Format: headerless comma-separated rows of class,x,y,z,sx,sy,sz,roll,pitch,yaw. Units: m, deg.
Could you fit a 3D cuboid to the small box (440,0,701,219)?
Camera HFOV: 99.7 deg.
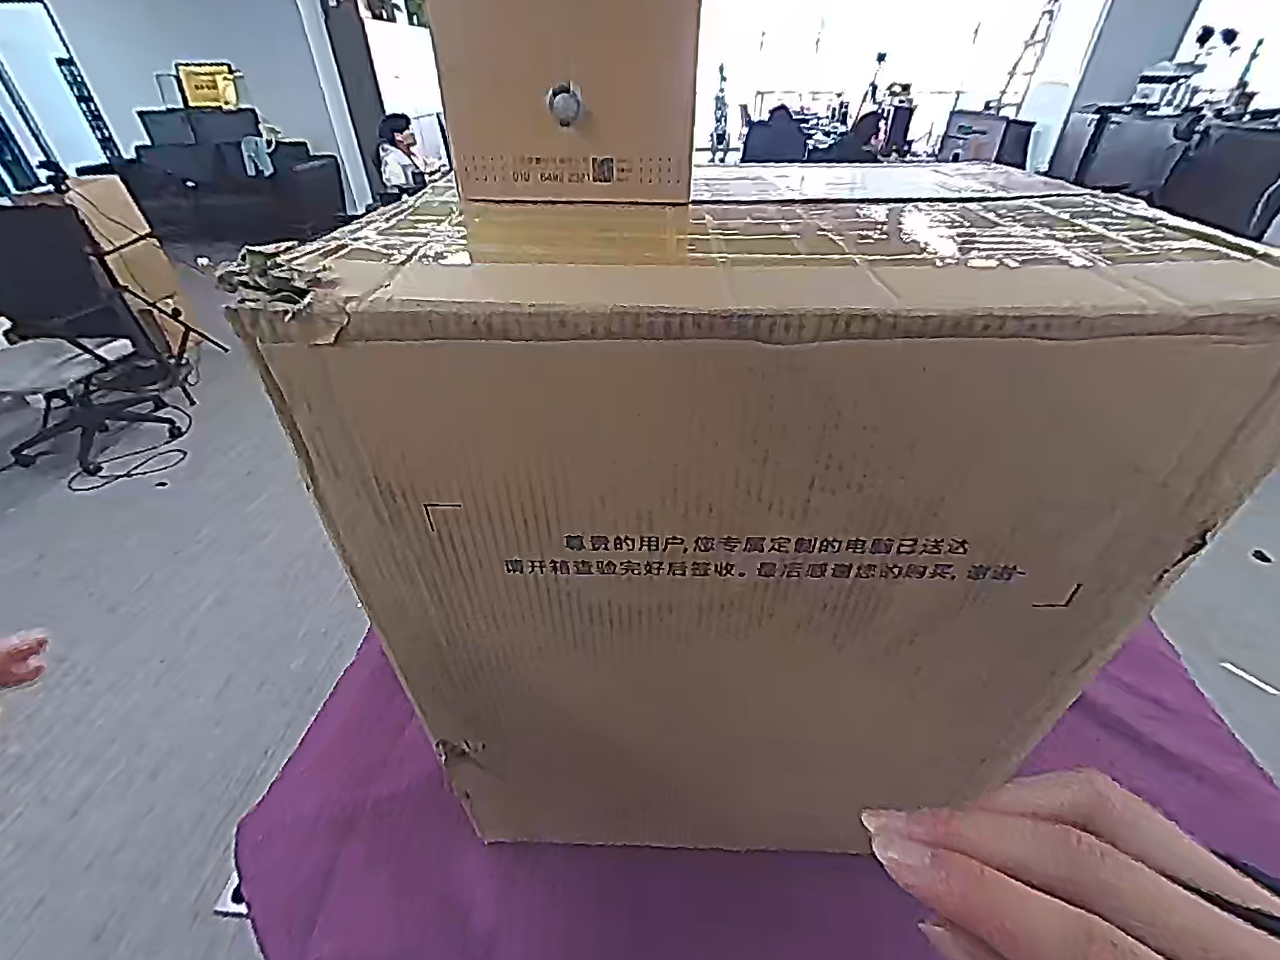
small box,-0.042,-0.309,0.411,0.168,0.176,0.179,1,37,2
